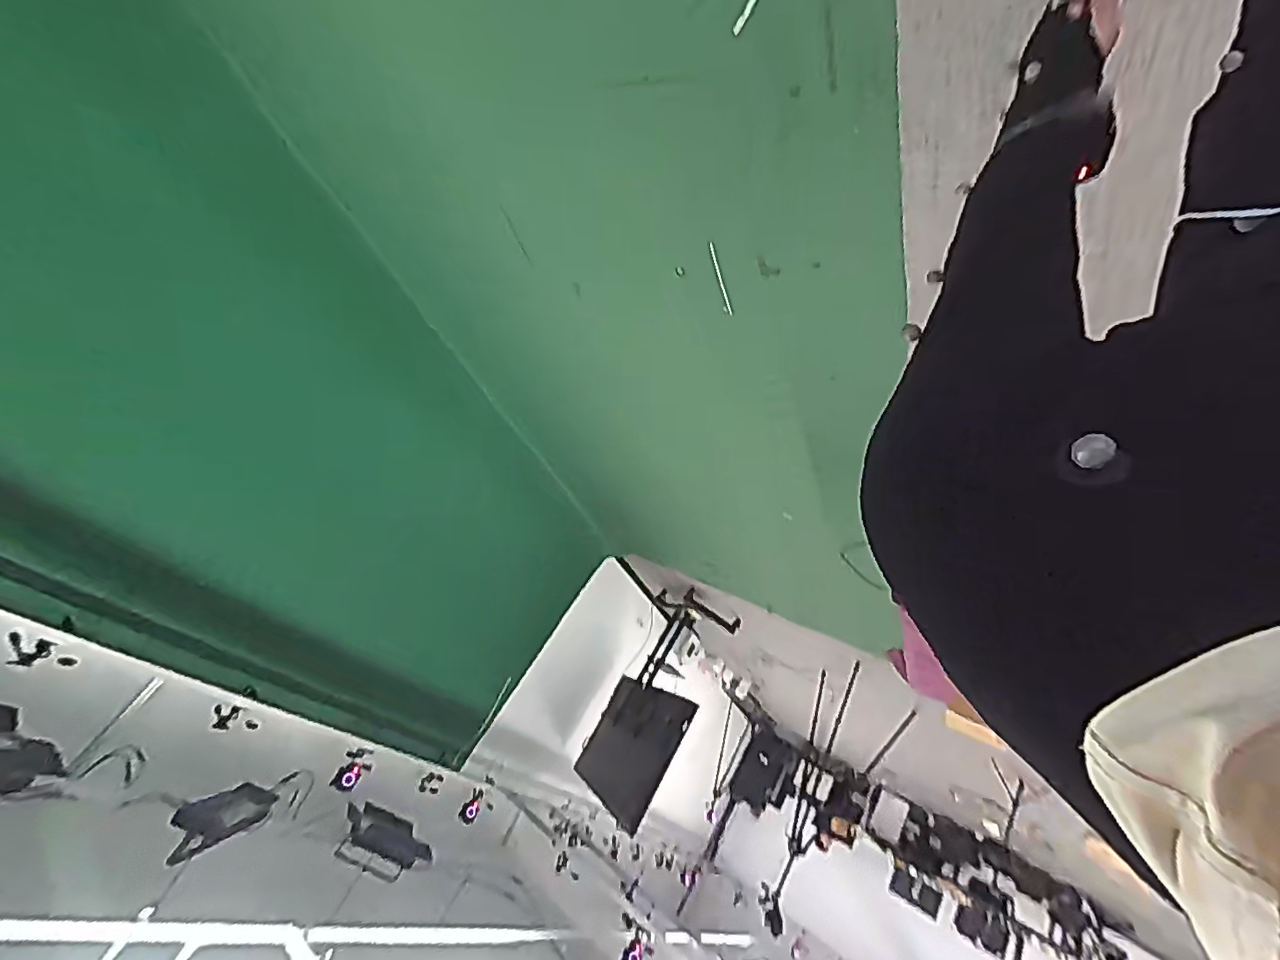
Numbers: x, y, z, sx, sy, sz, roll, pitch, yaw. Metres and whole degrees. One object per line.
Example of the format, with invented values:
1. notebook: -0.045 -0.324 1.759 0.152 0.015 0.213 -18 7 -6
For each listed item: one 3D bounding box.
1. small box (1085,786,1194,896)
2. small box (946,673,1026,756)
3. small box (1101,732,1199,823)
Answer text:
1. small box: 1.315 0.947 1.426 0.179 0.176 0.168 16 150 39
2. small box: 1.105 0.742 1.731 0.179 0.176 0.168 16 151 38
3. small box: 1.402 0.825 1.491 0.168 0.176 0.179 15 151 39
